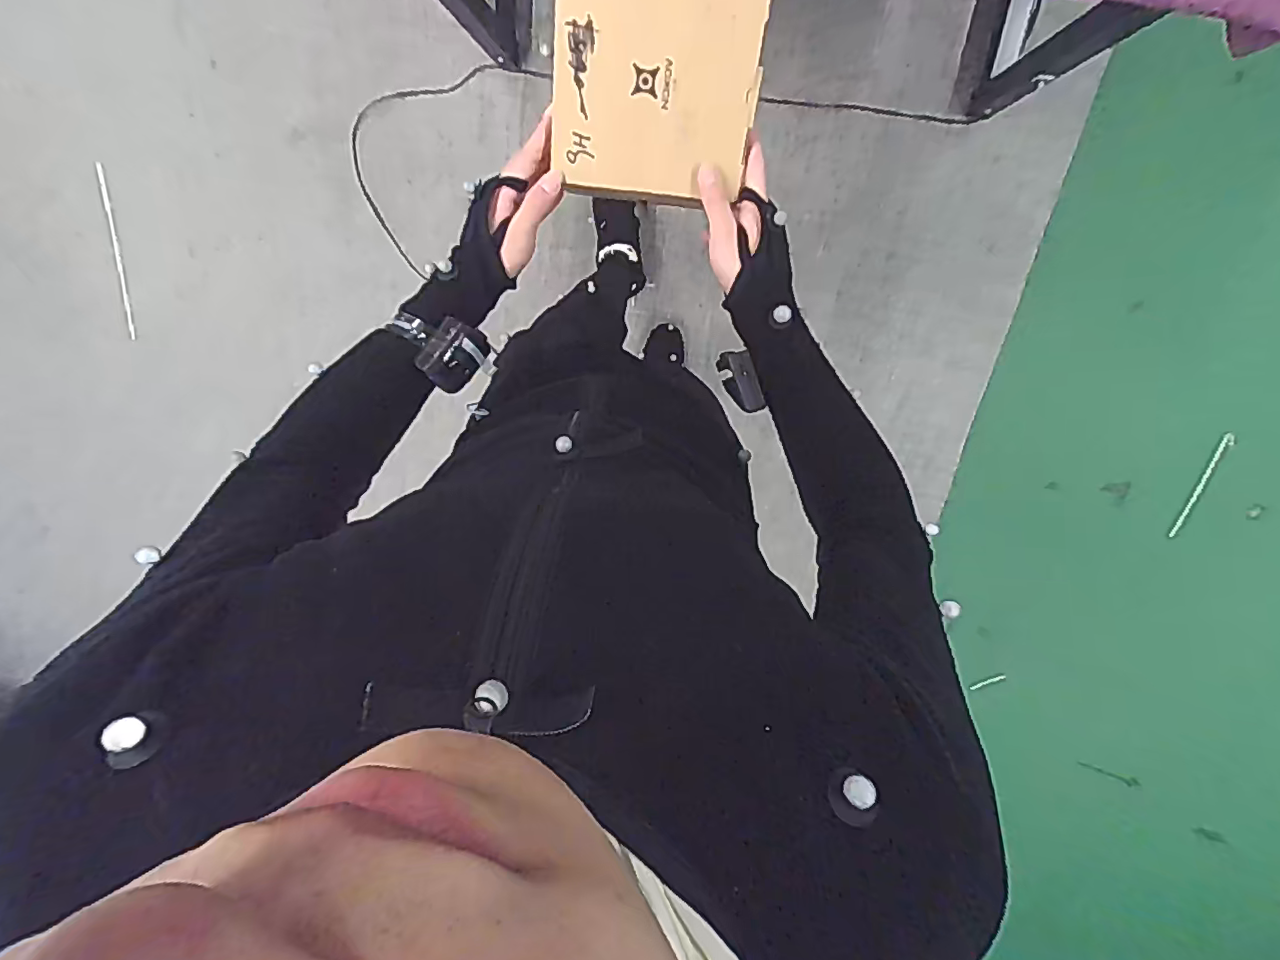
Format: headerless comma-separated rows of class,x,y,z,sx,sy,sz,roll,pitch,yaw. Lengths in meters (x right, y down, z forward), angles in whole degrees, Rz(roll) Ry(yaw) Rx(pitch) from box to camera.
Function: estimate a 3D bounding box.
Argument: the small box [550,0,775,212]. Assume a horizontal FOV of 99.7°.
small box,0.012,-0.366,0.532,0.179,0.176,0.168,6,113,-4
